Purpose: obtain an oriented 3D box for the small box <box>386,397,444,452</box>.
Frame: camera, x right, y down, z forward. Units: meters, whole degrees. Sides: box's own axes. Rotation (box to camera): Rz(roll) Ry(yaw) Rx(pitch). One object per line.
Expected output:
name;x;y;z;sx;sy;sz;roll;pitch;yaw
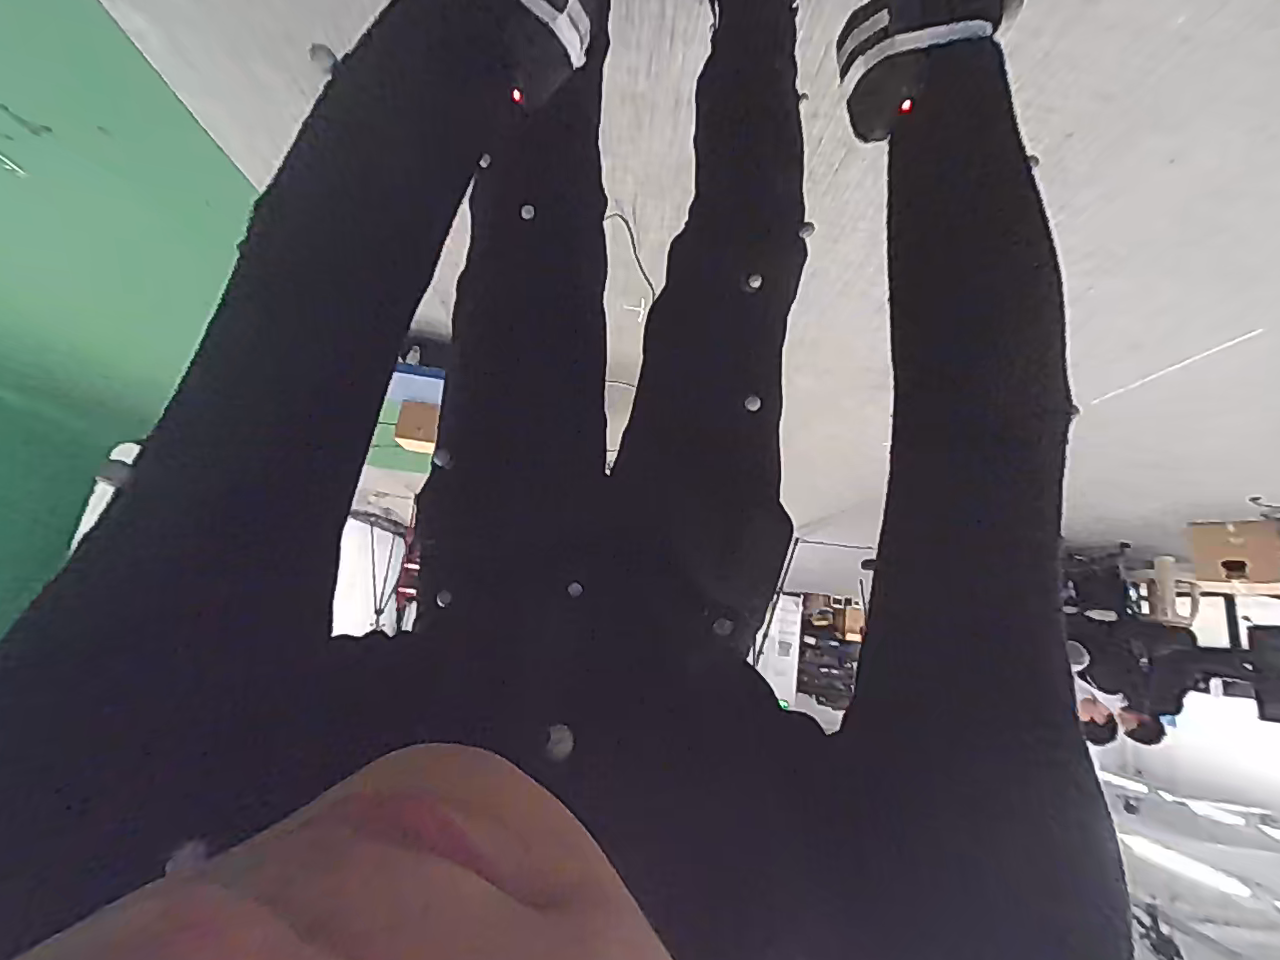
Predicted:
small box;-0.917;-0.230;2.224;0.179;0.176;0.168;9;165;-5
